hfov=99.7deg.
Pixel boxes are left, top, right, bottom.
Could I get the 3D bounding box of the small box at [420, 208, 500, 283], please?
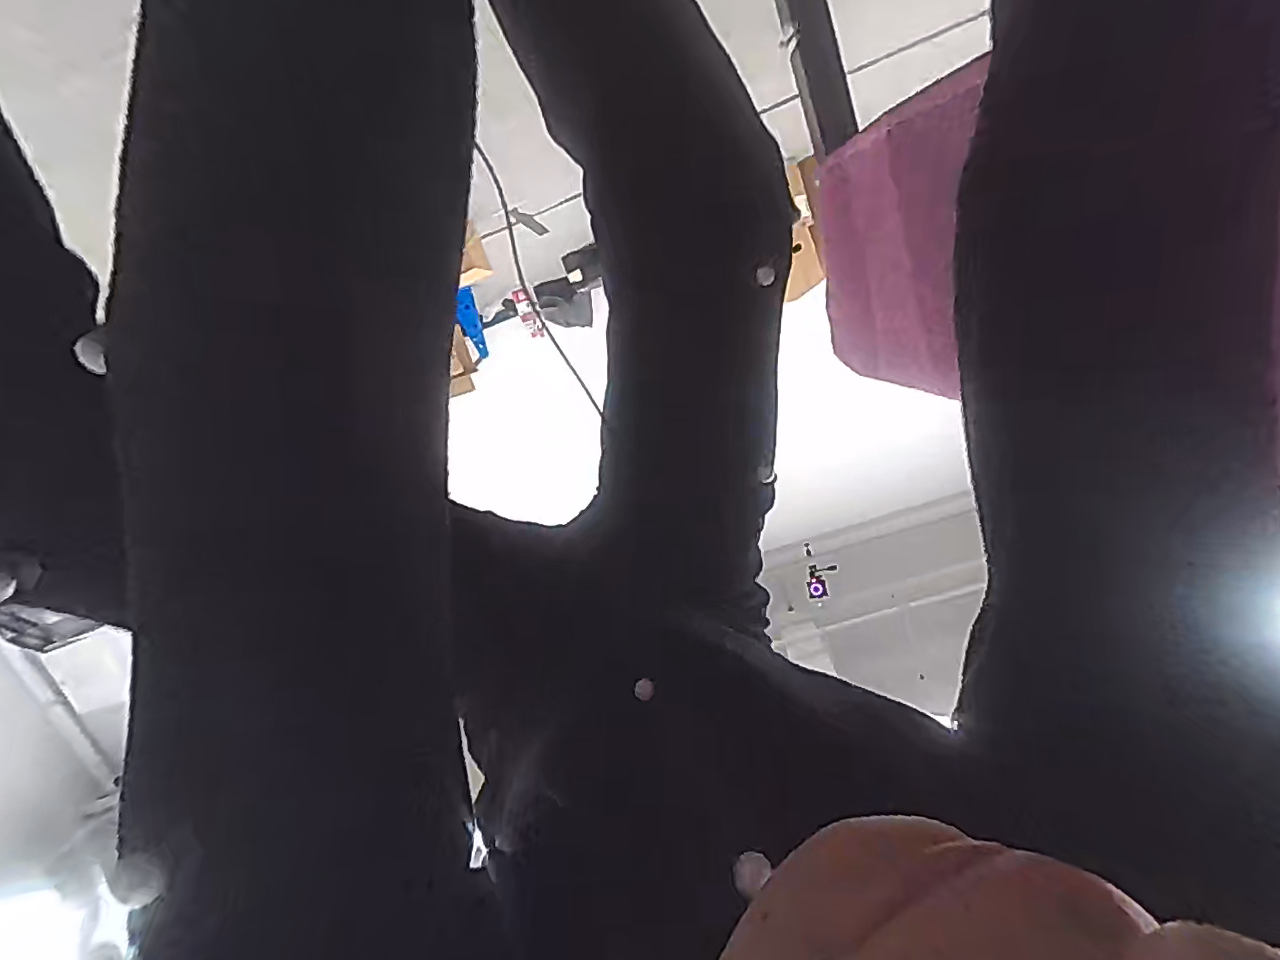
[{"bbox_3d":[-0.602,-0.774,1.797,0.179,0.176,0.168,-18,-166,12],"label":"small box"}]
